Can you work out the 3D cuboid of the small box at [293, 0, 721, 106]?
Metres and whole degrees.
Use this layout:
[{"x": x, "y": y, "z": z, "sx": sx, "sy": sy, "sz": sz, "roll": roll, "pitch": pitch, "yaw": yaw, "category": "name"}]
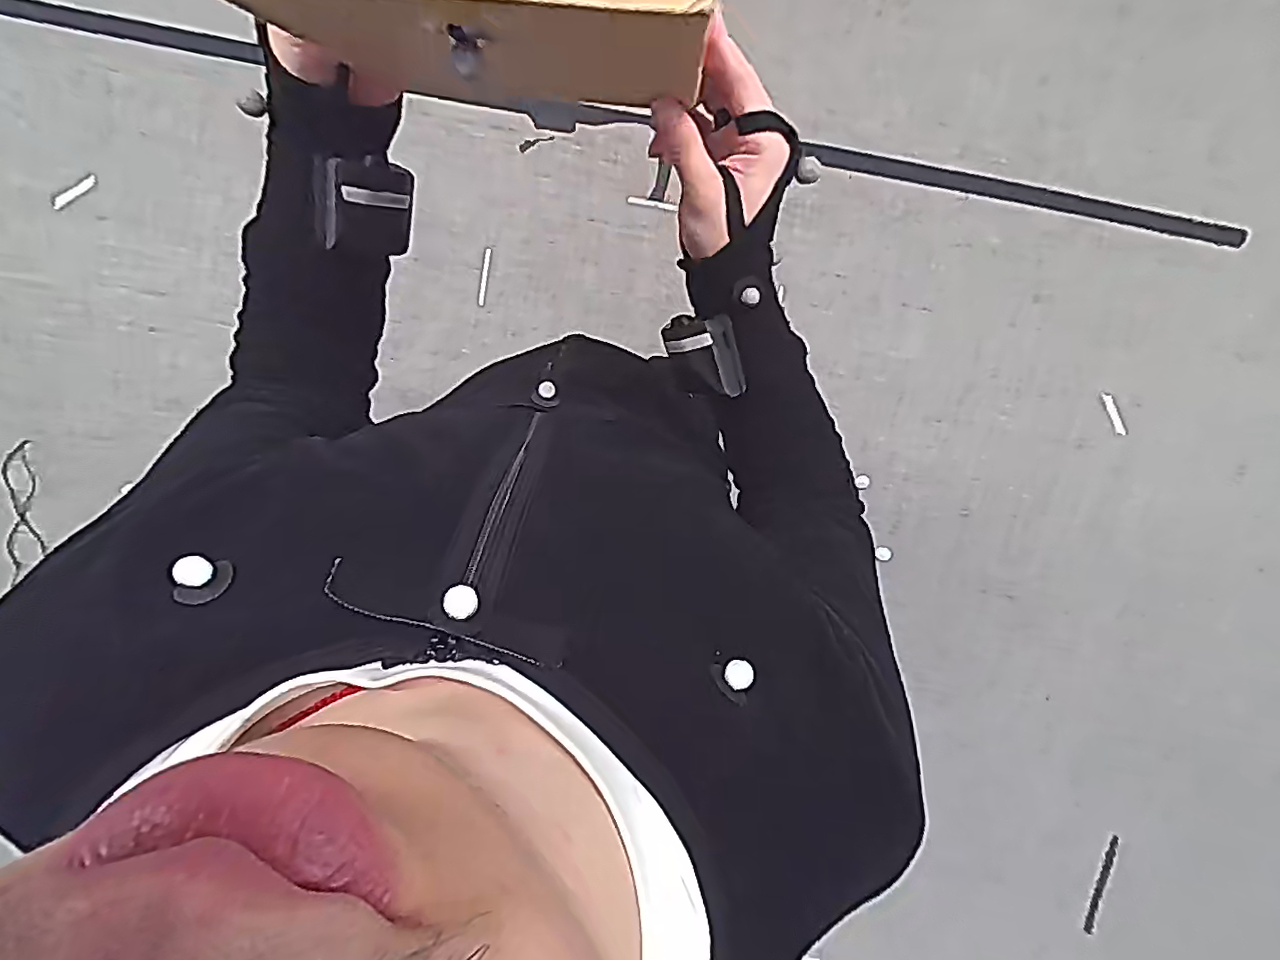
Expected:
[{"x": -0.048, "y": -0.268, "z": 0.219, "sx": 0.179, "sy": 0.176, "sz": 0.168, "roll": 4, "pitch": 115, "yaw": 1, "category": "small box"}]
